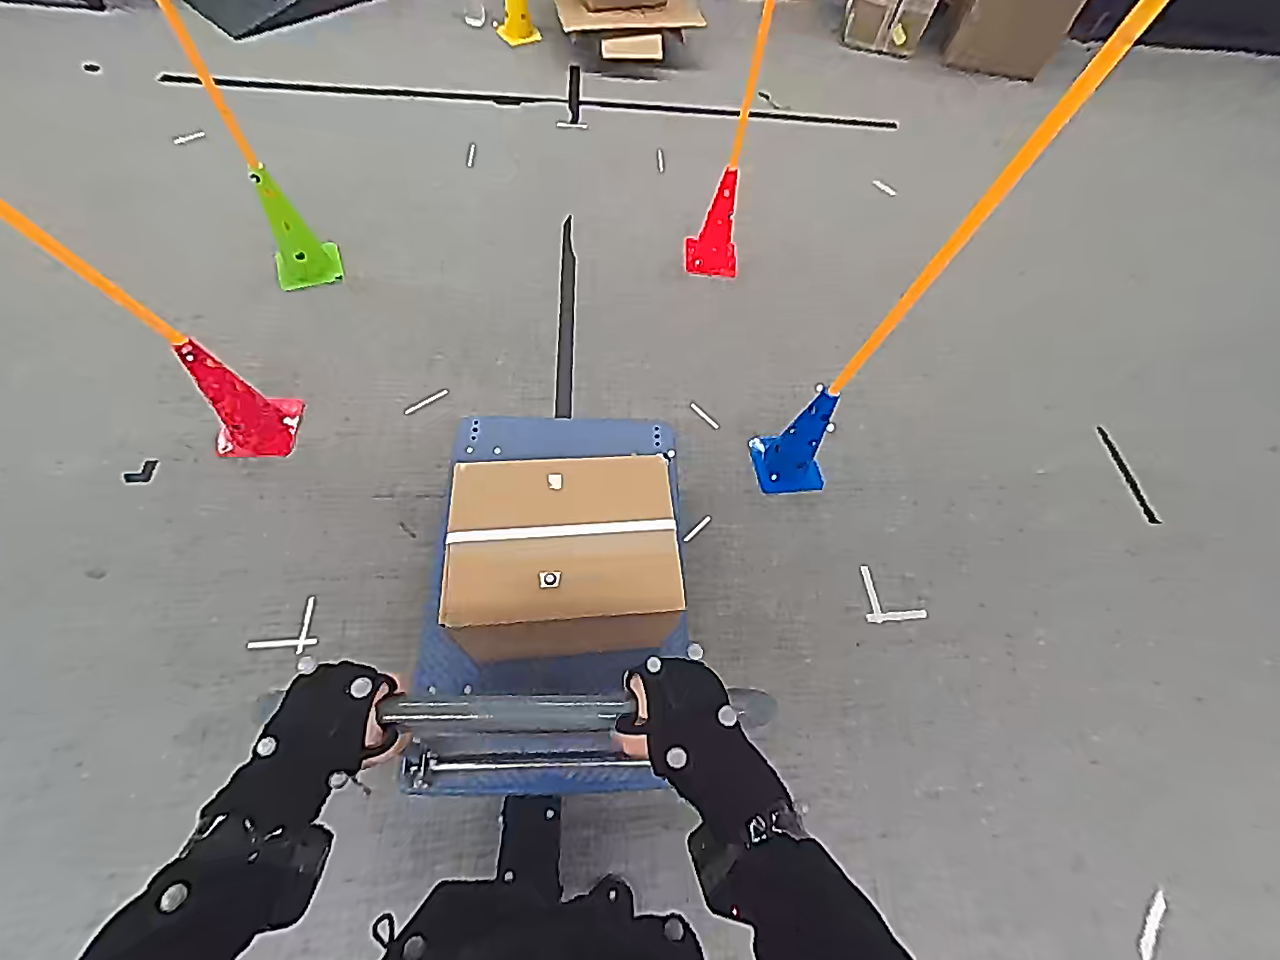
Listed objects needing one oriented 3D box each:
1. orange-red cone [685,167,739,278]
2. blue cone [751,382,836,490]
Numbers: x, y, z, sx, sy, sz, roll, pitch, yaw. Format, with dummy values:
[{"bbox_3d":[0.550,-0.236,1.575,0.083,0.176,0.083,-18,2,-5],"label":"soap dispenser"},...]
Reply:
[{"bbox_3d":[0.292,-0.933,1.925,0.199,0.360,0.198,6,62,-4],"label":"orange-red cone"},{"bbox_3d":[0.465,-0.134,1.523,0.193,0.380,0.192,-4,61,-8],"label":"blue cone"}]
